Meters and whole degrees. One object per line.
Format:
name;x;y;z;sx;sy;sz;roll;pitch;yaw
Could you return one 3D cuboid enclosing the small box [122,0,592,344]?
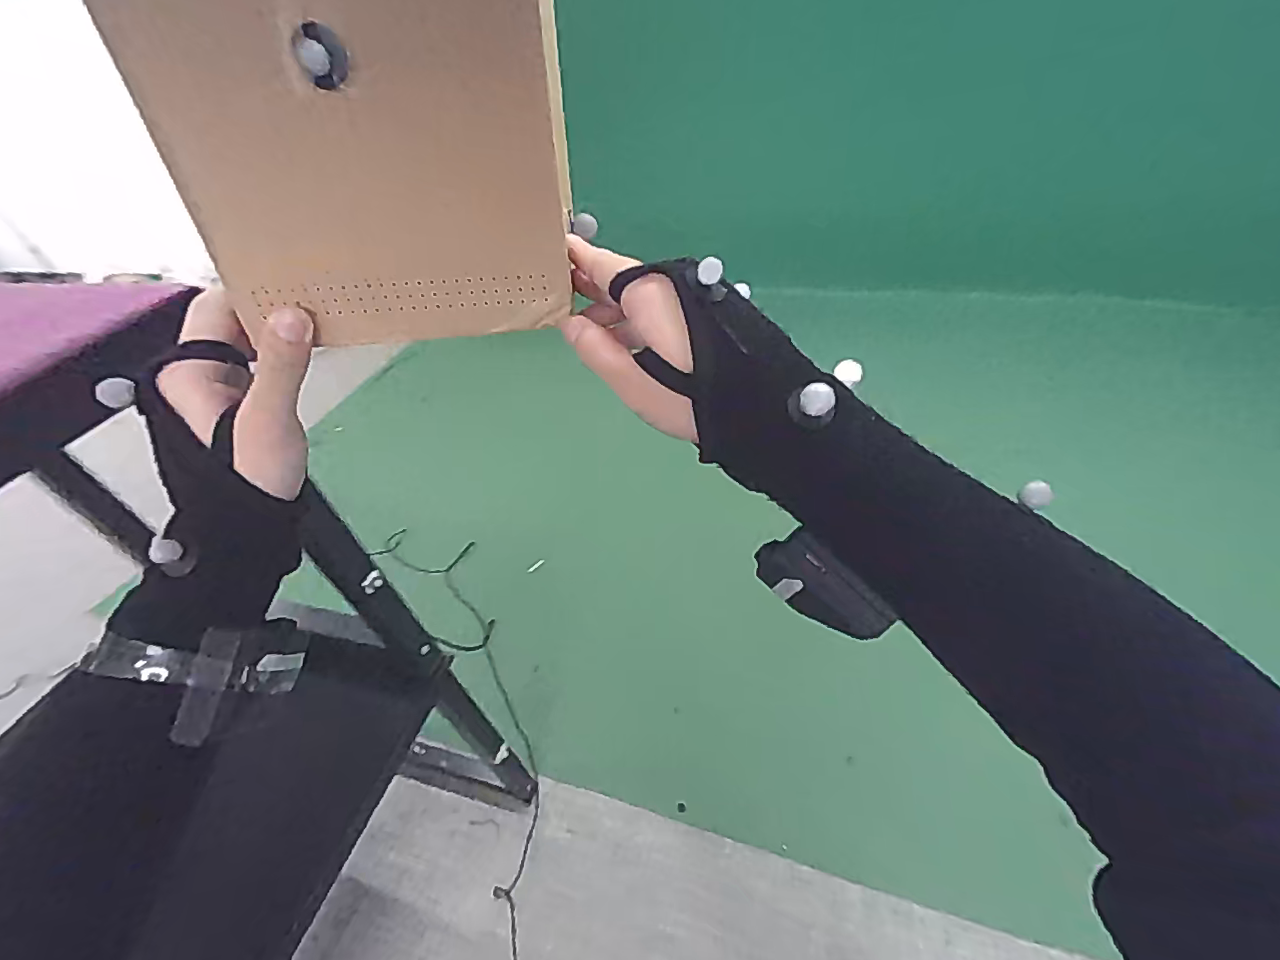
small box;-0.123;-0.186;0.311;0.179;0.176;0.168;-4;38;-2
